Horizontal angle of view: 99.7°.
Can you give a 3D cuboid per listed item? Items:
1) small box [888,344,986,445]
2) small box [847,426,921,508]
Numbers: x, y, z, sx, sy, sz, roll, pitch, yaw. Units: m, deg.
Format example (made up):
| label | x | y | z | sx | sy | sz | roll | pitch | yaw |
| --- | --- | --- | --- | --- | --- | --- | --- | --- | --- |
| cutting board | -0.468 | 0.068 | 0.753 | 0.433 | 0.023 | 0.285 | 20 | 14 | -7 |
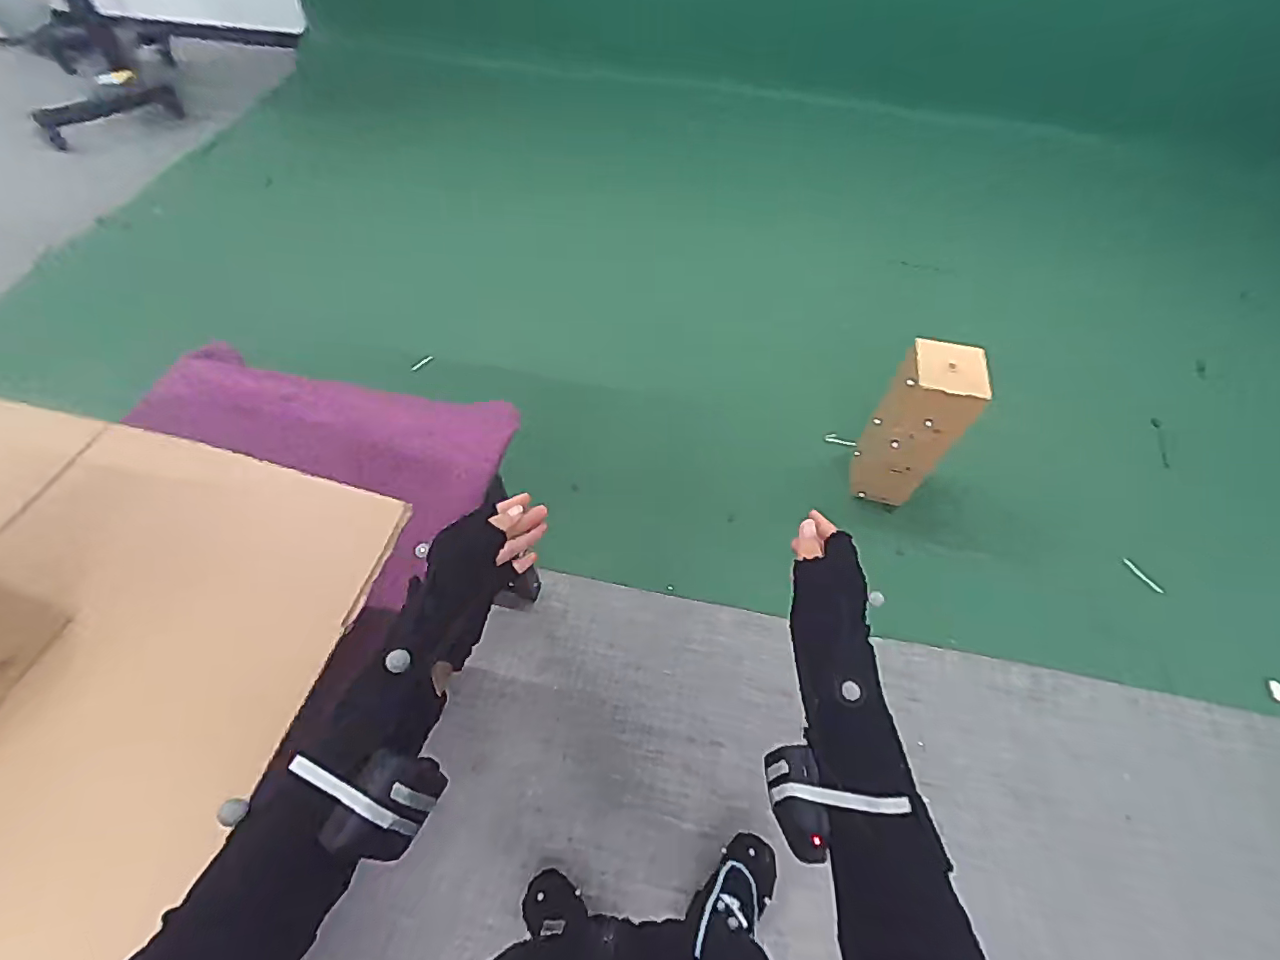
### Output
| label | x | y | z | sx | sy | sz | roll | pitch | yaw |
| --- | --- | --- | --- | --- | --- | --- | --- | --- | --- |
| small box | 0.758 | -0.219 | 1.401 | 0.168 | 0.176 | 0.179 | 11 | 57 | 6 |
| small box | 0.751 | -0.035 | 1.672 | 0.168 | 0.176 | 0.179 | 13 | 57 | 7 |
